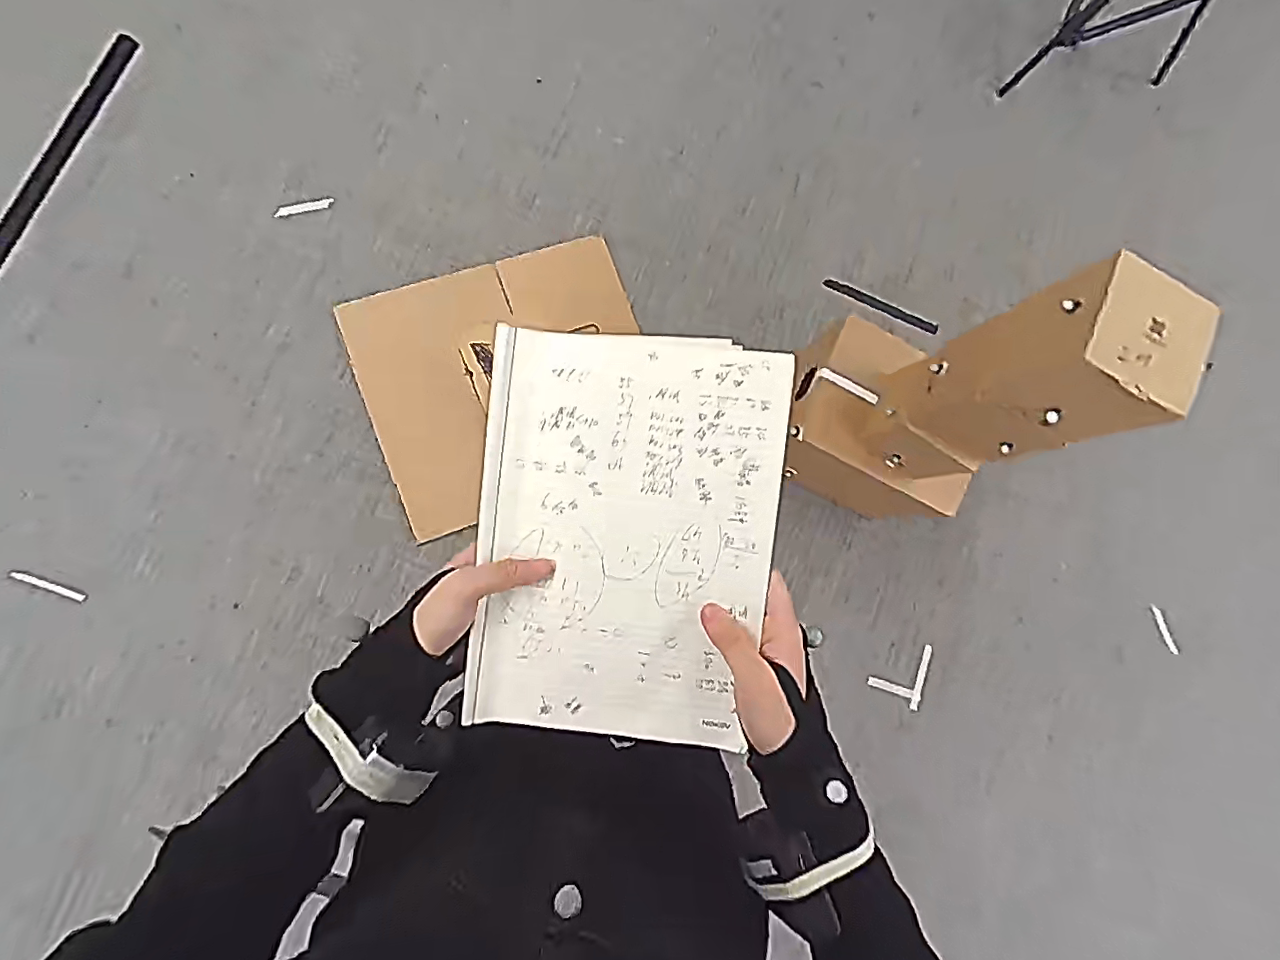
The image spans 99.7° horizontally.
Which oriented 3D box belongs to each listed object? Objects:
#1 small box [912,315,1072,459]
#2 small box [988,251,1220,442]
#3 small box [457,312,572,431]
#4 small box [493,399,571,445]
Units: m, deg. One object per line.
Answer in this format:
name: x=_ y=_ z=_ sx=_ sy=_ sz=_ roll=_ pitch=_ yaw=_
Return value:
small box: x=0.615 y=-0.146 z=0.928 sx=0.179 sy=0.176 sz=0.168 roll=25 pitch=80 yaw=-4
small box: x=0.643 y=-0.176 z=0.768 sx=0.168 sy=0.176 sz=0.179 roll=28 pitch=80 yaw=-5
small box: x=-0.249 y=-0.212 z=1.103 sx=0.179 sy=0.176 sz=0.168 roll=-22 pitch=89 yaw=-12
small box: x=-0.277 y=-0.196 z=1.265 sx=0.179 sy=0.176 sz=0.168 roll=-23 pitch=89 yaw=-12
